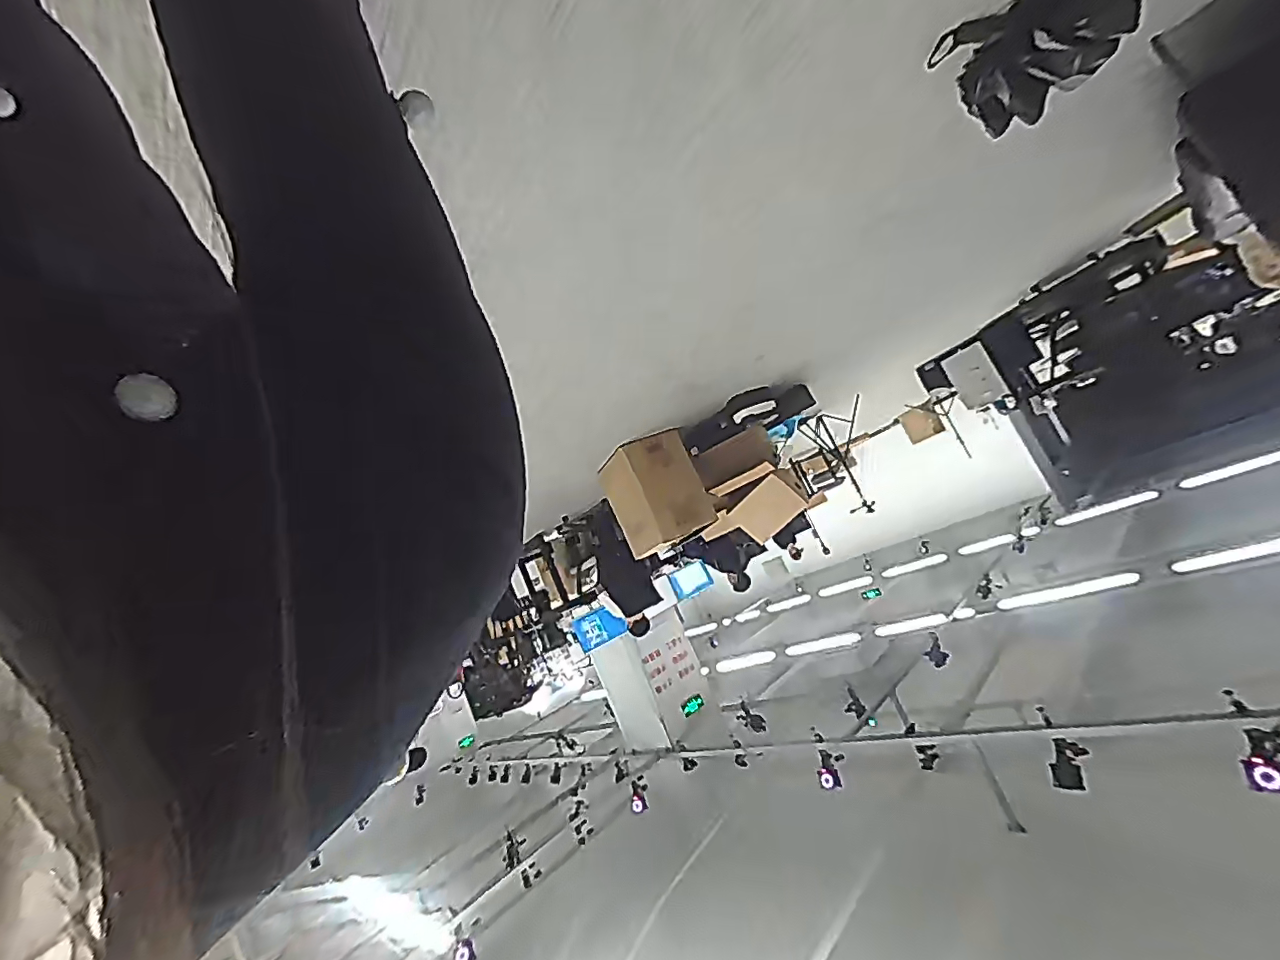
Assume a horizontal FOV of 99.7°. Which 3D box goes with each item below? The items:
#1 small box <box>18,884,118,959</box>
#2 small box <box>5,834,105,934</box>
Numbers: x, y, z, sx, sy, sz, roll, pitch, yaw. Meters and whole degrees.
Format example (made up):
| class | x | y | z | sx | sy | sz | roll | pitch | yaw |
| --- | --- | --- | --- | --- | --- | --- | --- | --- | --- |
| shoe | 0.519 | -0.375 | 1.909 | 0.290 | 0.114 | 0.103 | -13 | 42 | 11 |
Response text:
| class | x | y | z | sx | sy | sz | roll | pitch | yaw |
| --- | --- | --- | --- | --- | --- | --- | --- | --- | --- |
| small box | -1.733 | 1.377 | 1.639 | 0.179 | 0.176 | 0.168 | -18 | 168 | -40 |
| small box | -1.799 | 1.231 | 1.663 | 0.179 | 0.176 | 0.168 | -18 | 170 | -42 |
